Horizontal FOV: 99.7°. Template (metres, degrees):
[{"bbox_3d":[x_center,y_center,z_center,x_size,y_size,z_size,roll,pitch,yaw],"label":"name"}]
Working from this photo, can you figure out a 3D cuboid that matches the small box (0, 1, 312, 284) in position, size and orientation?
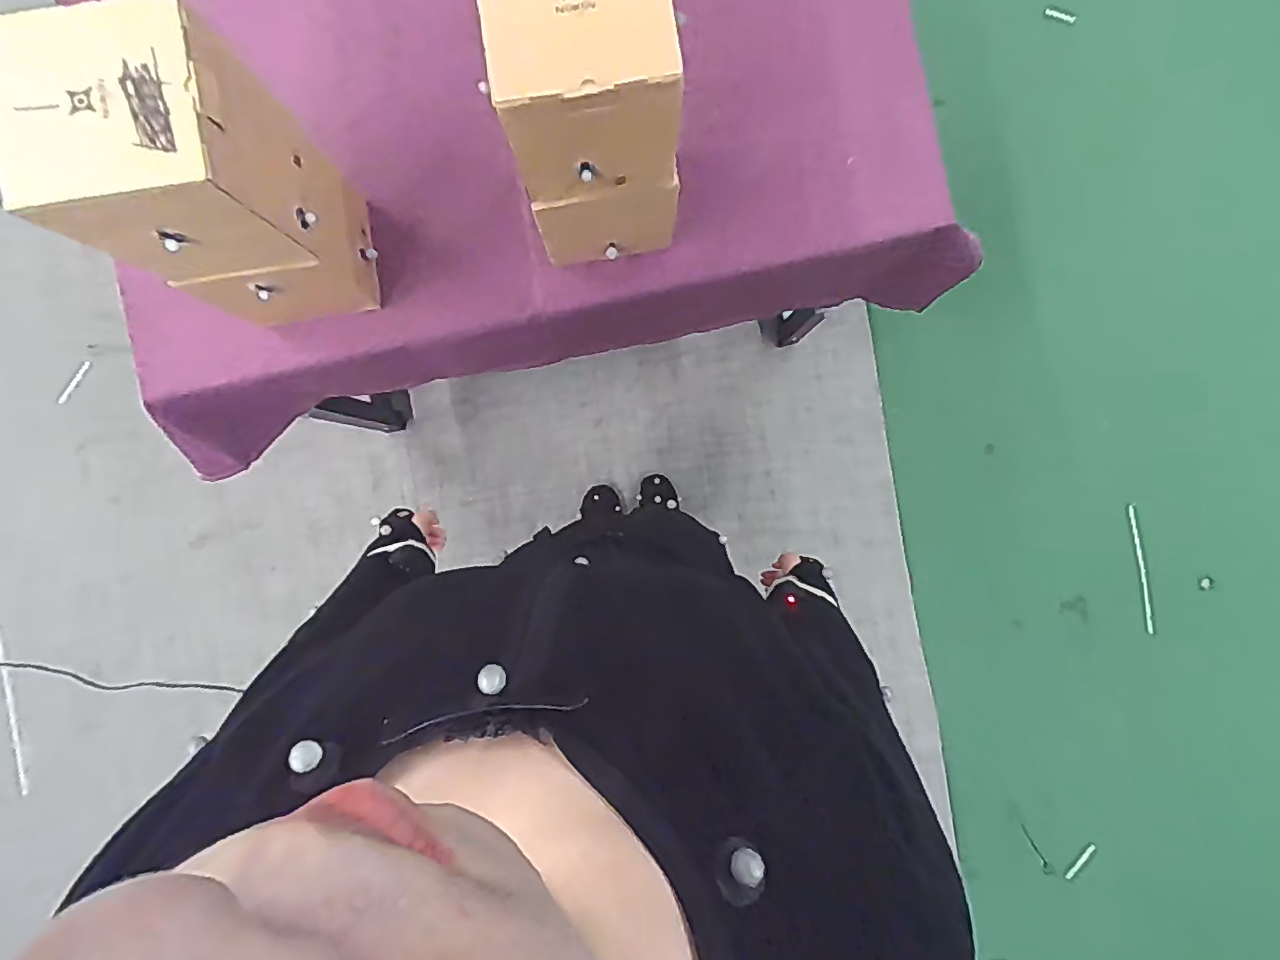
[{"bbox_3d":[-0.461,-0.315,0.540,0.179,0.176,0.168,-10,90,0],"label":"small box"}]

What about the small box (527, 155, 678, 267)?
[{"bbox_3d":[-0.057,-0.402,0.711,0.179,0.176,0.168,-10,89,-1],"label":"small box"}]

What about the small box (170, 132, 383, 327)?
[{"bbox_3d":[-0.467,-0.310,0.704,0.179,0.176,0.168,-9,90,-1],"label":"small box"}]

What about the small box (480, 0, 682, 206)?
[{"bbox_3d":[-0.058,-0.414,0.547,0.168,0.176,0.179,-10,90,0],"label":"small box"}]
